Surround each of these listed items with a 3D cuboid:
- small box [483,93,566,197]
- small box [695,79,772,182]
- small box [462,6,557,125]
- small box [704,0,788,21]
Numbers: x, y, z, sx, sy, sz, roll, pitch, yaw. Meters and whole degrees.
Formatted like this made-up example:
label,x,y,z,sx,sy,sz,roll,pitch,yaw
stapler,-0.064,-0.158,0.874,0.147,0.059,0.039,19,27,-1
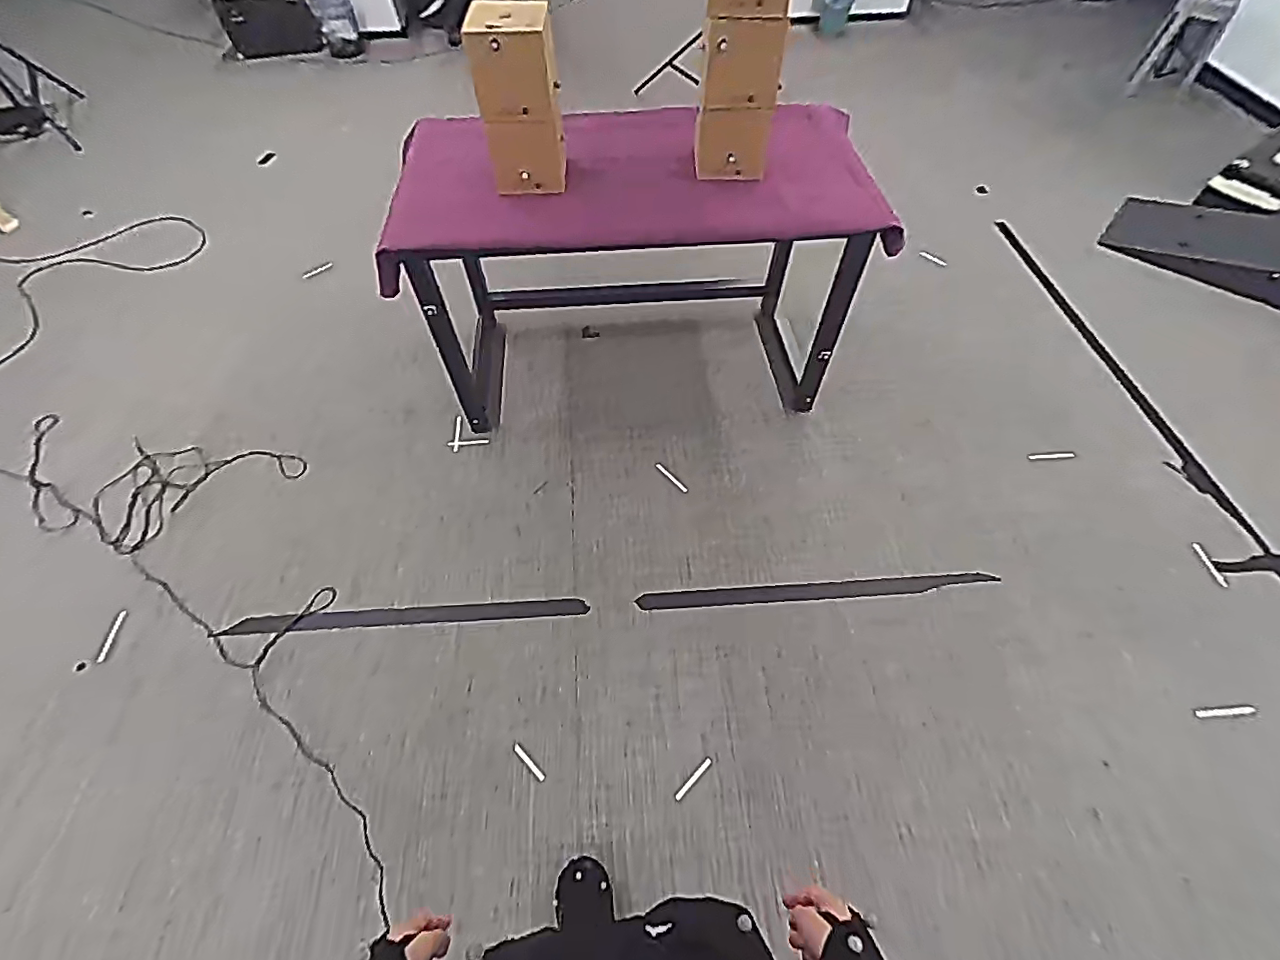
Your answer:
label,x,y,z,sx,sy,sz,roll,pitch,yaw
small box,-0.276,-0.824,1.332,0.168,0.176,0.179,-3,57,-1
small box,0.227,-0.881,1.364,0.168,0.176,0.179,0,56,2
small box,-0.279,-0.915,1.196,0.168,0.176,0.179,-2,56,-1
small box,0.220,-1.057,1.089,0.168,0.176,0.179,2,55,1
